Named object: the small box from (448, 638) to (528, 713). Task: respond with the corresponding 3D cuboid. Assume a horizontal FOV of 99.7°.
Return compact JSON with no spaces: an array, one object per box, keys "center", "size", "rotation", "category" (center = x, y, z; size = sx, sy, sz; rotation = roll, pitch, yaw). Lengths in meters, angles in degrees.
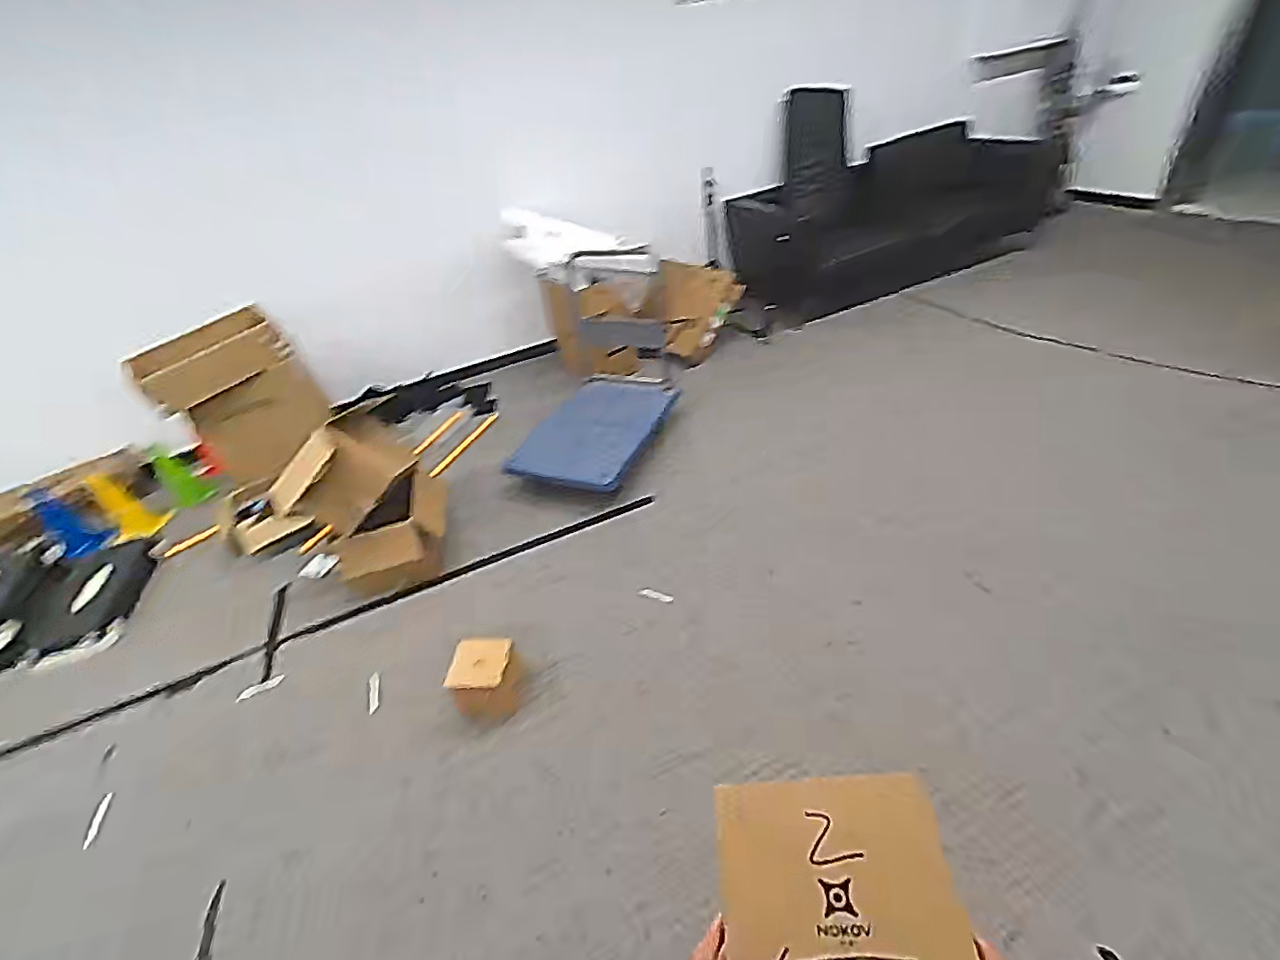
[{"center":[-0.476,0.623,1.717],"size":[0.179,0.176,0.168],"rotation":[-5,37,7],"category":"small box"}]
